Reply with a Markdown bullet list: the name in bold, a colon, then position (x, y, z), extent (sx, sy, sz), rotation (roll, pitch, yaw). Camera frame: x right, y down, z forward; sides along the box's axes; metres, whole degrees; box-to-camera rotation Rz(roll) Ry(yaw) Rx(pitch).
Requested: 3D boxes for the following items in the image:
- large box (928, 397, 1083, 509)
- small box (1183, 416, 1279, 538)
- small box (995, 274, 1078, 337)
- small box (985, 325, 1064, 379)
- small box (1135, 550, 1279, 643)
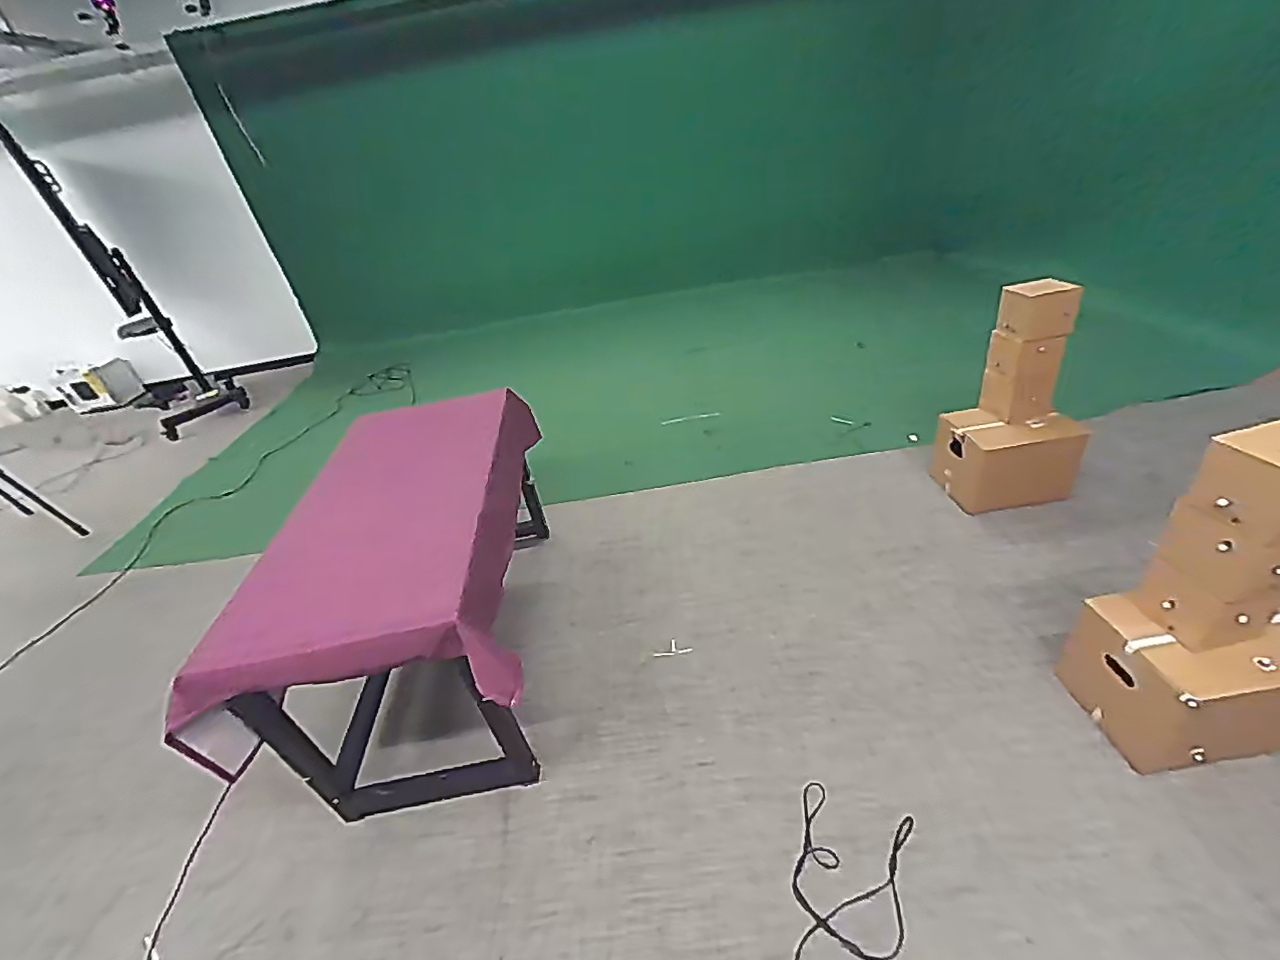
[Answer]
- **large box**: position (1.479, -0.114, 2.231), extent (0.408, 0.320, 0.320), rotation (-9, 34, 1)
- **small box**: position (1.295, -0.007, 1.113), extent (0.179, 0.176, 0.168), rotation (-14, 33, -4)
- **small box**: position (1.446, -0.639, 1.985), extent (0.179, 0.176, 0.168), rotation (-10, 30, 3)
- **small box**: position (1.466, -0.504, 2.074), extent (0.179, 0.176, 0.168), rotation (-11, 31, 1)
- **small box**: position (1.345, 0.264, 1.295), extent (0.179, 0.176, 0.168), rotation (-13, 33, -1)
